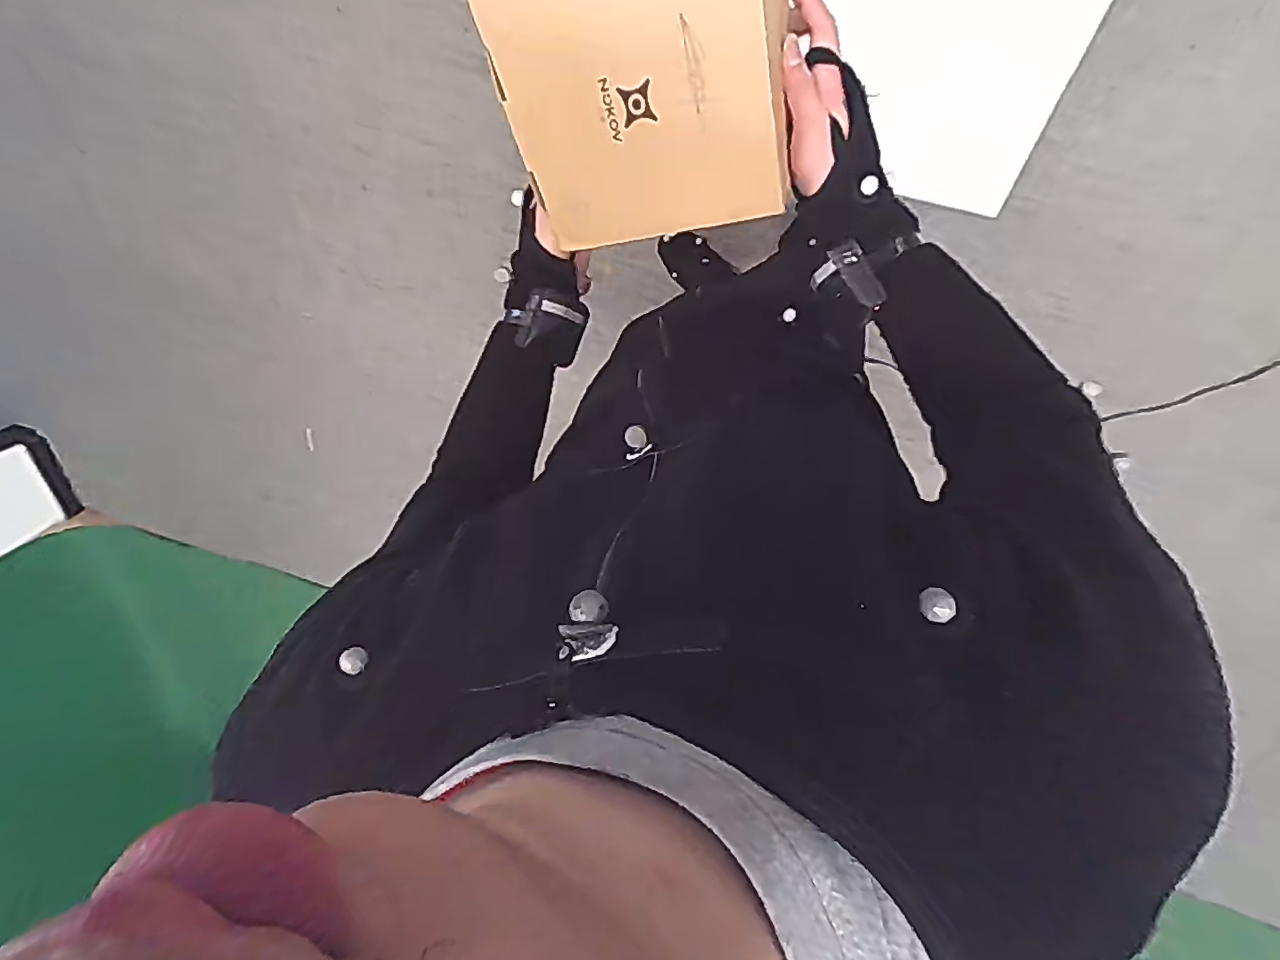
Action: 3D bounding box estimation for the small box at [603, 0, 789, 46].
[{"bbox_3d":[0.075,-0.552,0.534,0.179,0.176,0.168,17,126,6],"label":"small box"}]
